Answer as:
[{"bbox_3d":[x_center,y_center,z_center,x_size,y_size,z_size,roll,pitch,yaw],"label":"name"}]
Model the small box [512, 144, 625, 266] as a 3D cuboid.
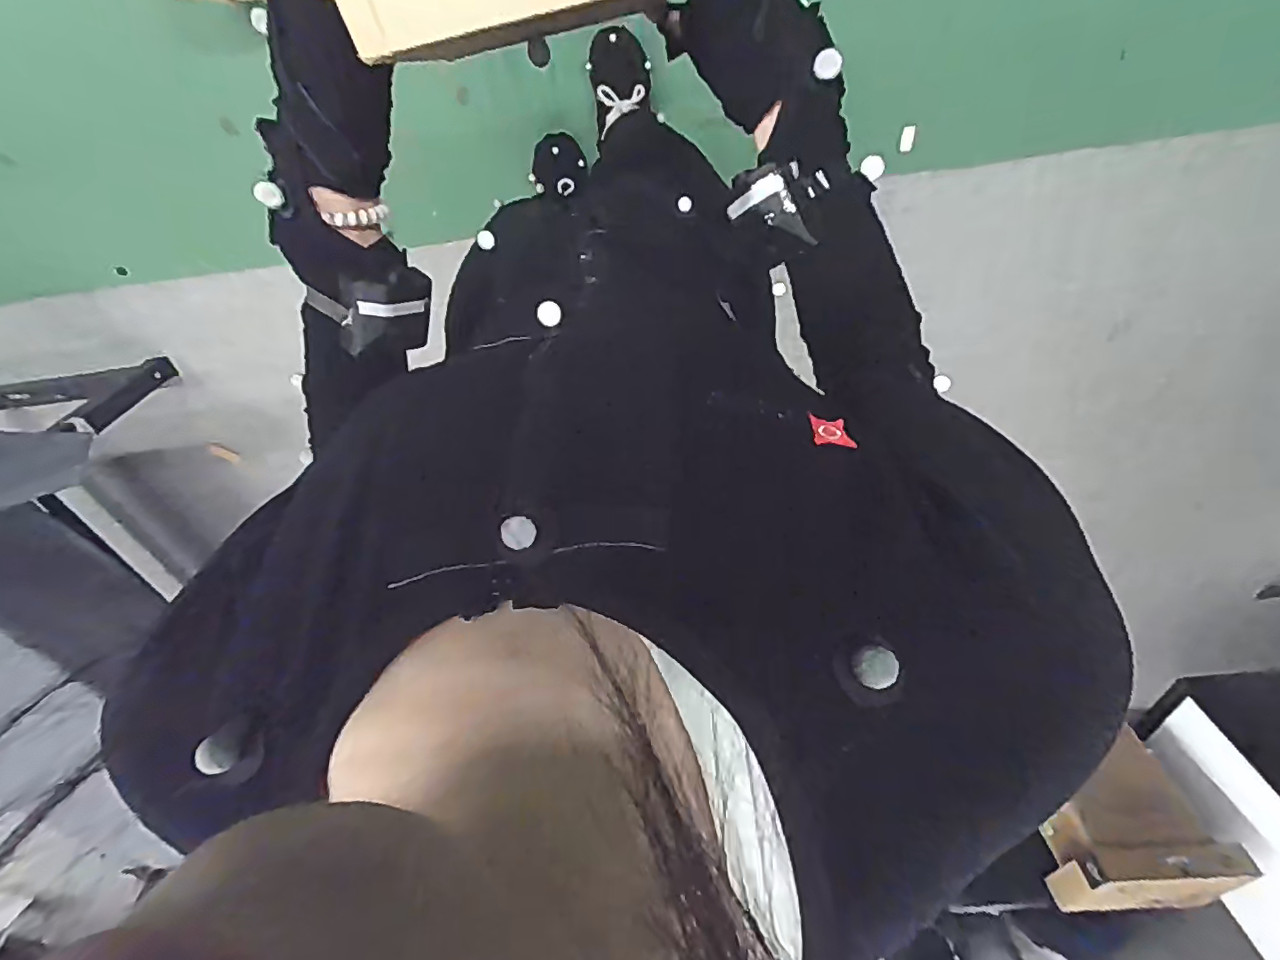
[{"bbox_3d":[-0.162,-0.607,1.195,0.179,0.176,0.168,34,130,-6],"label":"small box"}]
